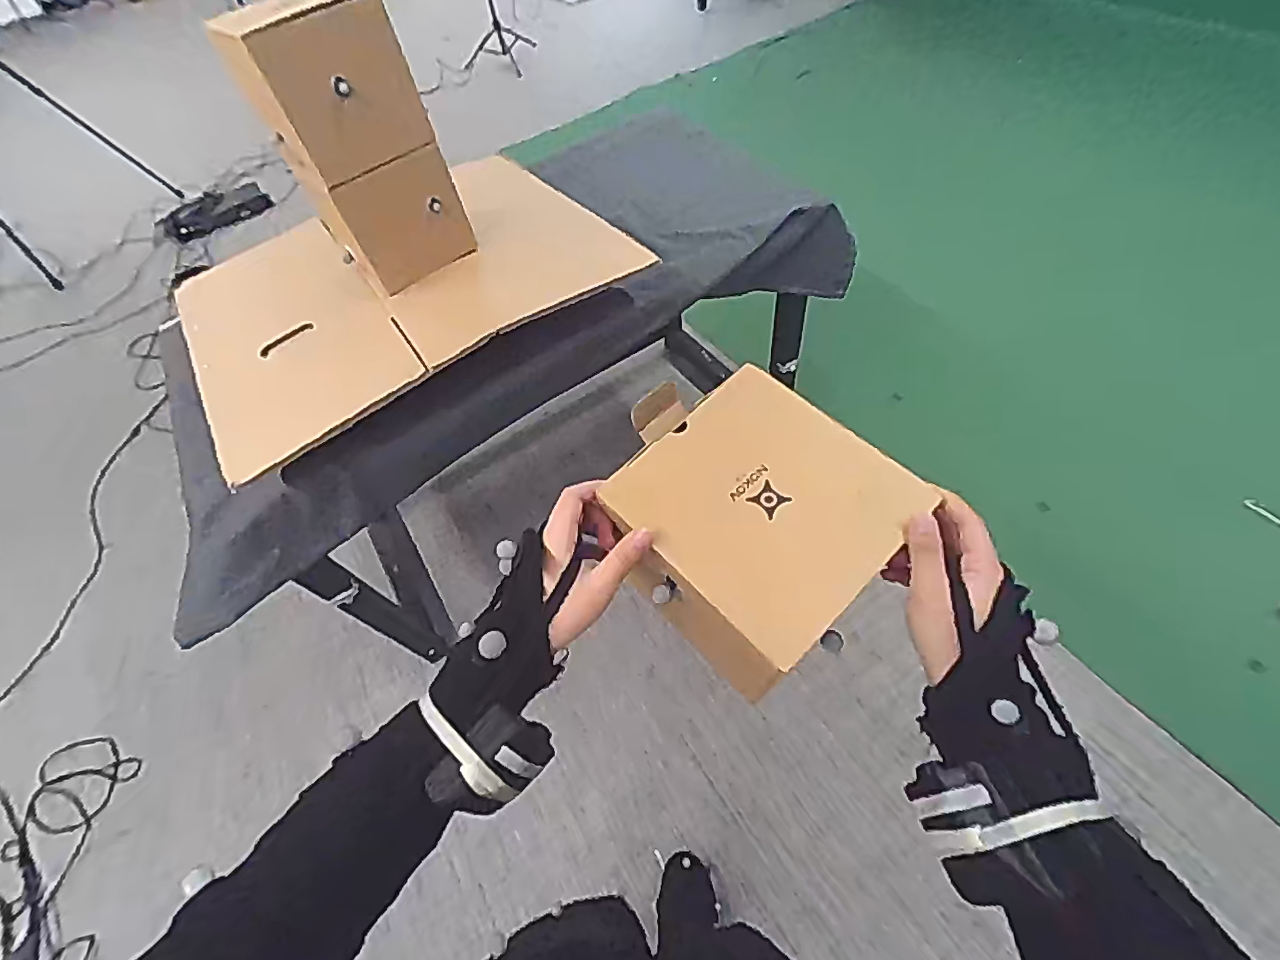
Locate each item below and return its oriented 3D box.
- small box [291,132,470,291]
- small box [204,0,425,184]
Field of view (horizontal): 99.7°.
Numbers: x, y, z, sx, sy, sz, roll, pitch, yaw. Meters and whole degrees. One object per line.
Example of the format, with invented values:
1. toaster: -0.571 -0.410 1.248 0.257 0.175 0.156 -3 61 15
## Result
1. small box: -0.394 -0.435 0.854 0.179 0.176 0.168 -40 57 -18
2. small box: -0.417 -0.534 0.725 0.179 0.176 0.168 -40 57 -19
